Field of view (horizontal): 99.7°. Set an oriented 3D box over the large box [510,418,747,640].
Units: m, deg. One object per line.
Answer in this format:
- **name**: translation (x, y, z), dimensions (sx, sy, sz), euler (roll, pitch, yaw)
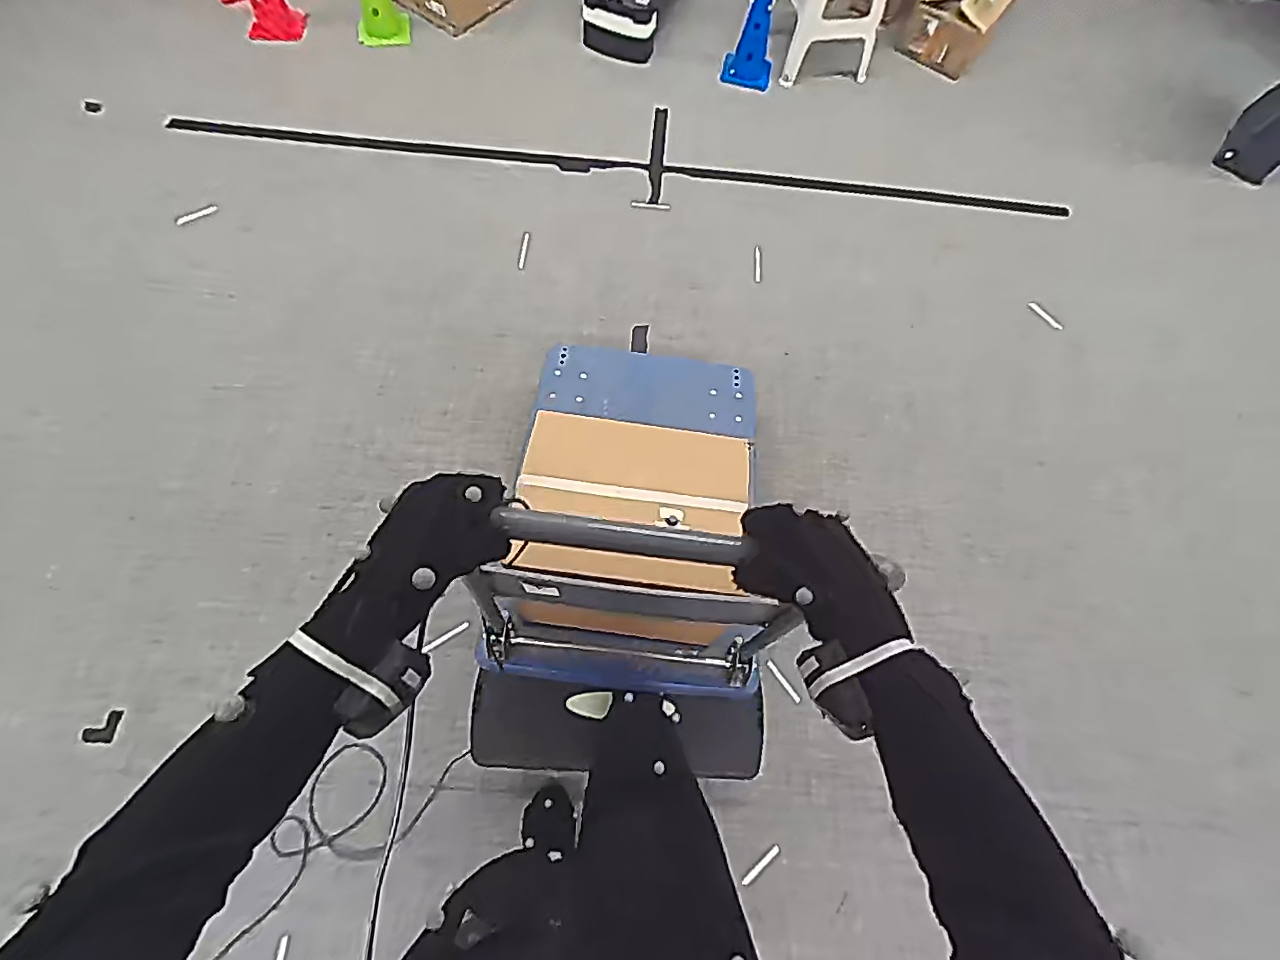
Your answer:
- **large box**: translation (-0.023, 0.111, 1.090), dimensions (0.408, 0.320, 0.320), euler (8, 59, -2)
